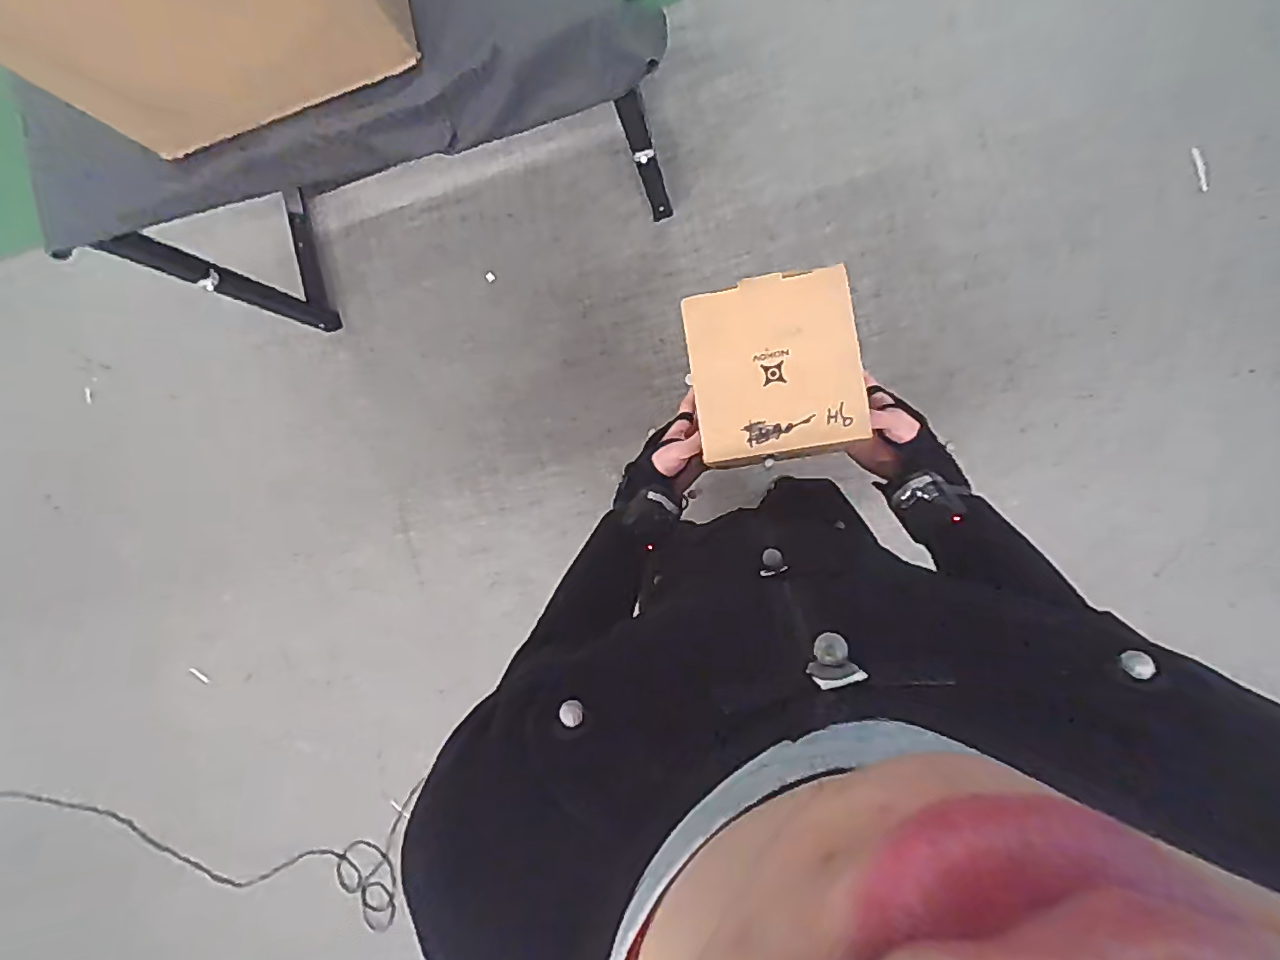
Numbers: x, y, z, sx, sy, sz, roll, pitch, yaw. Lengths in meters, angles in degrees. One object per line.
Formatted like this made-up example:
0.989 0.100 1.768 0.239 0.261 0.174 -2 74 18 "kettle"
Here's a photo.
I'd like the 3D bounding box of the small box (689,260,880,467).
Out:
0.155 -0.116 0.616 0.168 0.176 0.179 -10 87 12 "small box"
